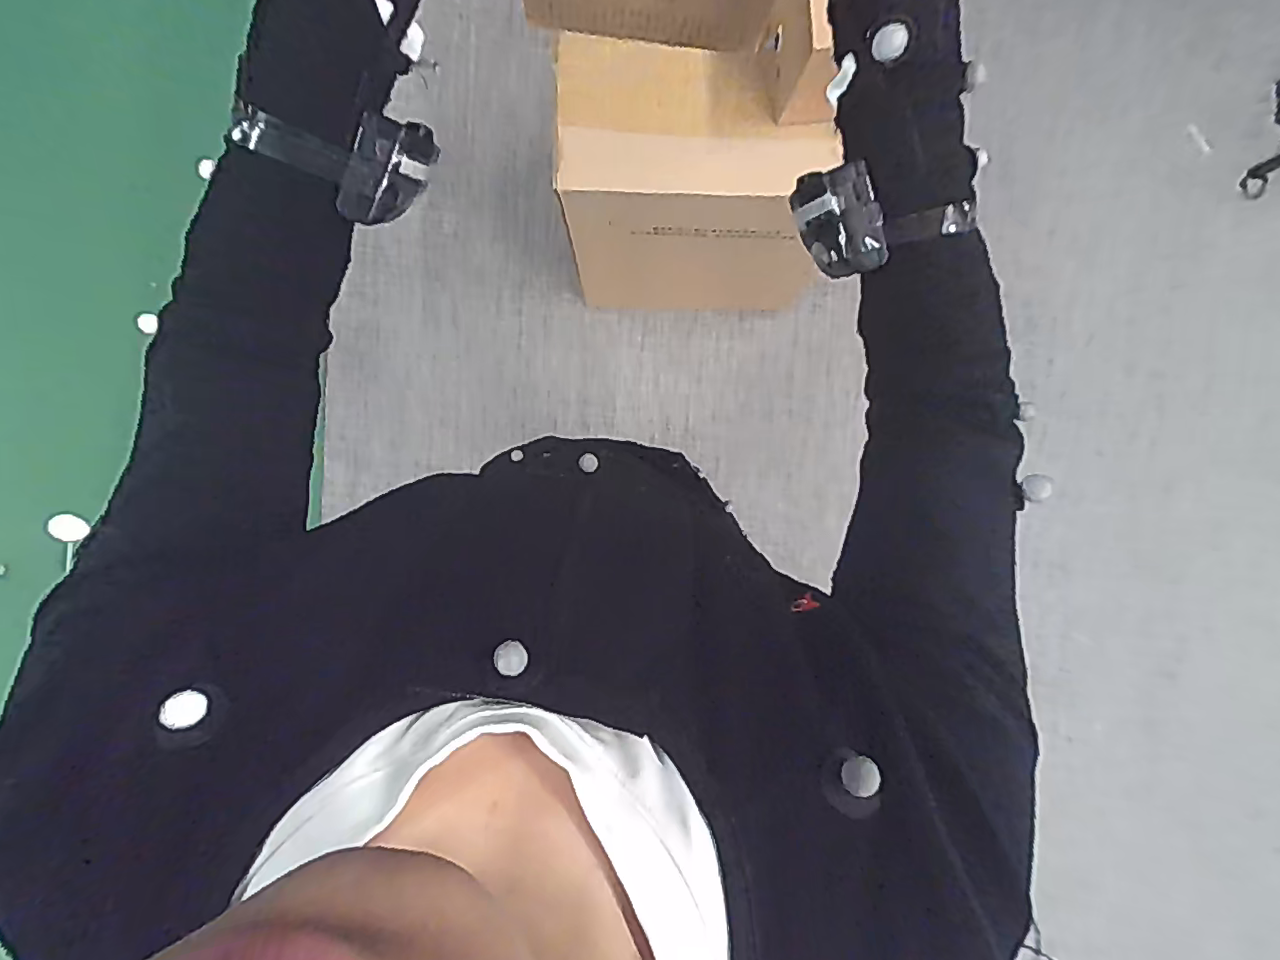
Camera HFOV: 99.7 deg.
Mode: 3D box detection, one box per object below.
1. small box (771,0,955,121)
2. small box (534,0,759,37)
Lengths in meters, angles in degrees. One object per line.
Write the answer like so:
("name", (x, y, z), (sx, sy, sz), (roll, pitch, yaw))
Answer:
("small box", (0.287, -0.618, 0.724), (0.179, 0.176, 0.168), (-6, 95, 1))
("small box", (0.012, -0.417, 0.326), (0.179, 0.176, 0.168), (4, 93, -4))
